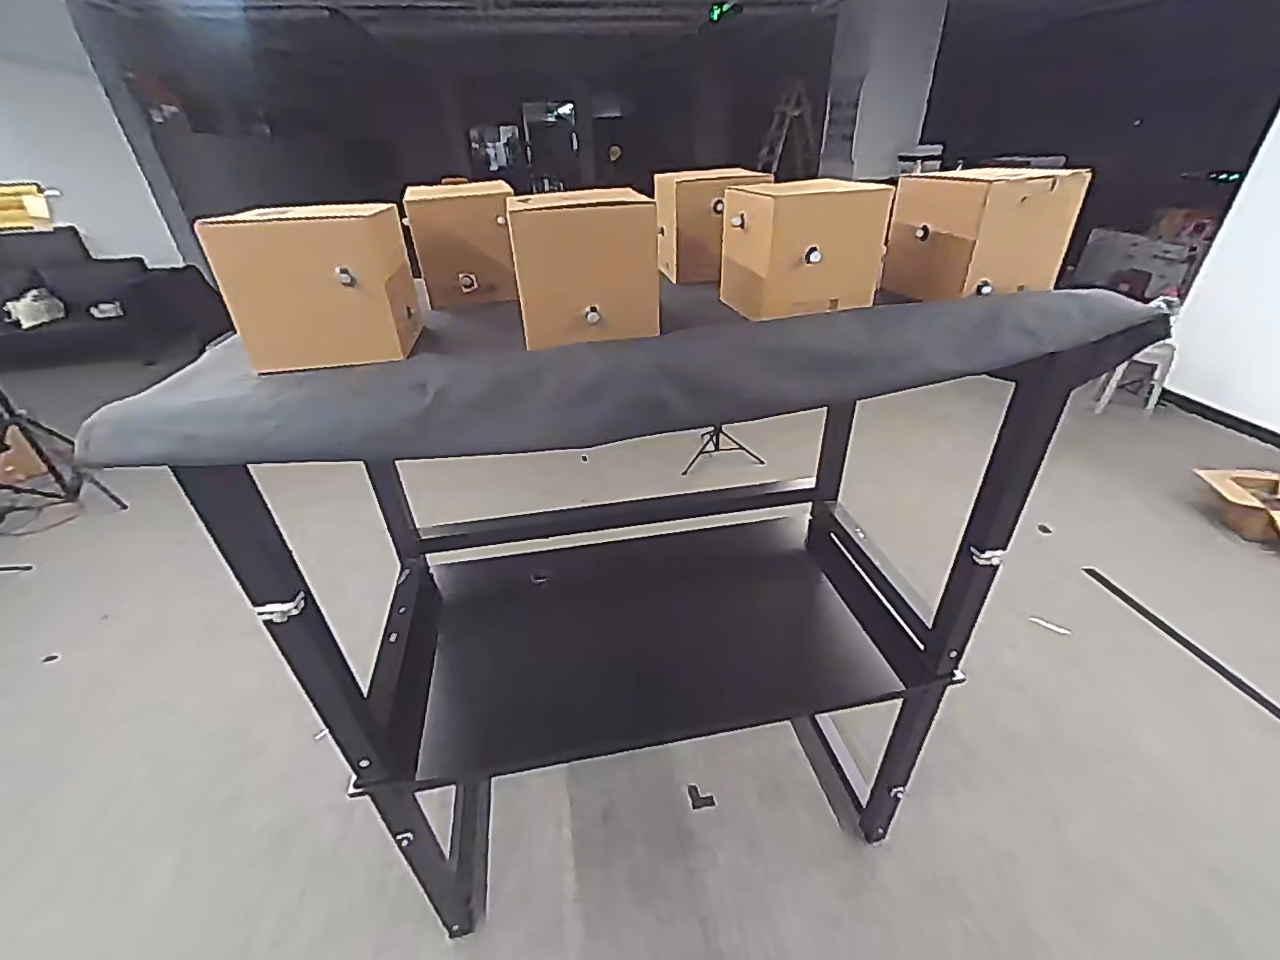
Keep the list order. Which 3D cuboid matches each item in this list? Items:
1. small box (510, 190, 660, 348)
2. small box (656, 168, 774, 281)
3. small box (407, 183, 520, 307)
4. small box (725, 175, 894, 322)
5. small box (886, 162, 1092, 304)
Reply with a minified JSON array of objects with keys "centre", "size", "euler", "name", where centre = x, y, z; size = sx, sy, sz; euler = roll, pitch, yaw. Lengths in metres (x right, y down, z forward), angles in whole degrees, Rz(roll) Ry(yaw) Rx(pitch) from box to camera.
[{"centre":[-0.076,-0.287,0.729],"size":[0.179,0.176,0.168],"euler":[-8,32,-9],"name":"small box"},{"centre":[0.133,-0.476,1.006],"size":[0.179,0.176,0.168],"euler":[-7,34,-7],"name":"small box"},{"centre":[-0.288,-0.407,0.932],"size":[0.168,0.176,0.179],"euler":[-12,34,-12],"name":"small box"},{"centre":[0.228,-0.331,0.775],"size":[0.168,0.176,0.179],"euler":[-9,32,-9],"name":"small box"},{"centre":[0.499,-0.366,0.804],"size":[0.168,0.176,0.179],"euler":[-11,32,-12],"name":"small box"}]
